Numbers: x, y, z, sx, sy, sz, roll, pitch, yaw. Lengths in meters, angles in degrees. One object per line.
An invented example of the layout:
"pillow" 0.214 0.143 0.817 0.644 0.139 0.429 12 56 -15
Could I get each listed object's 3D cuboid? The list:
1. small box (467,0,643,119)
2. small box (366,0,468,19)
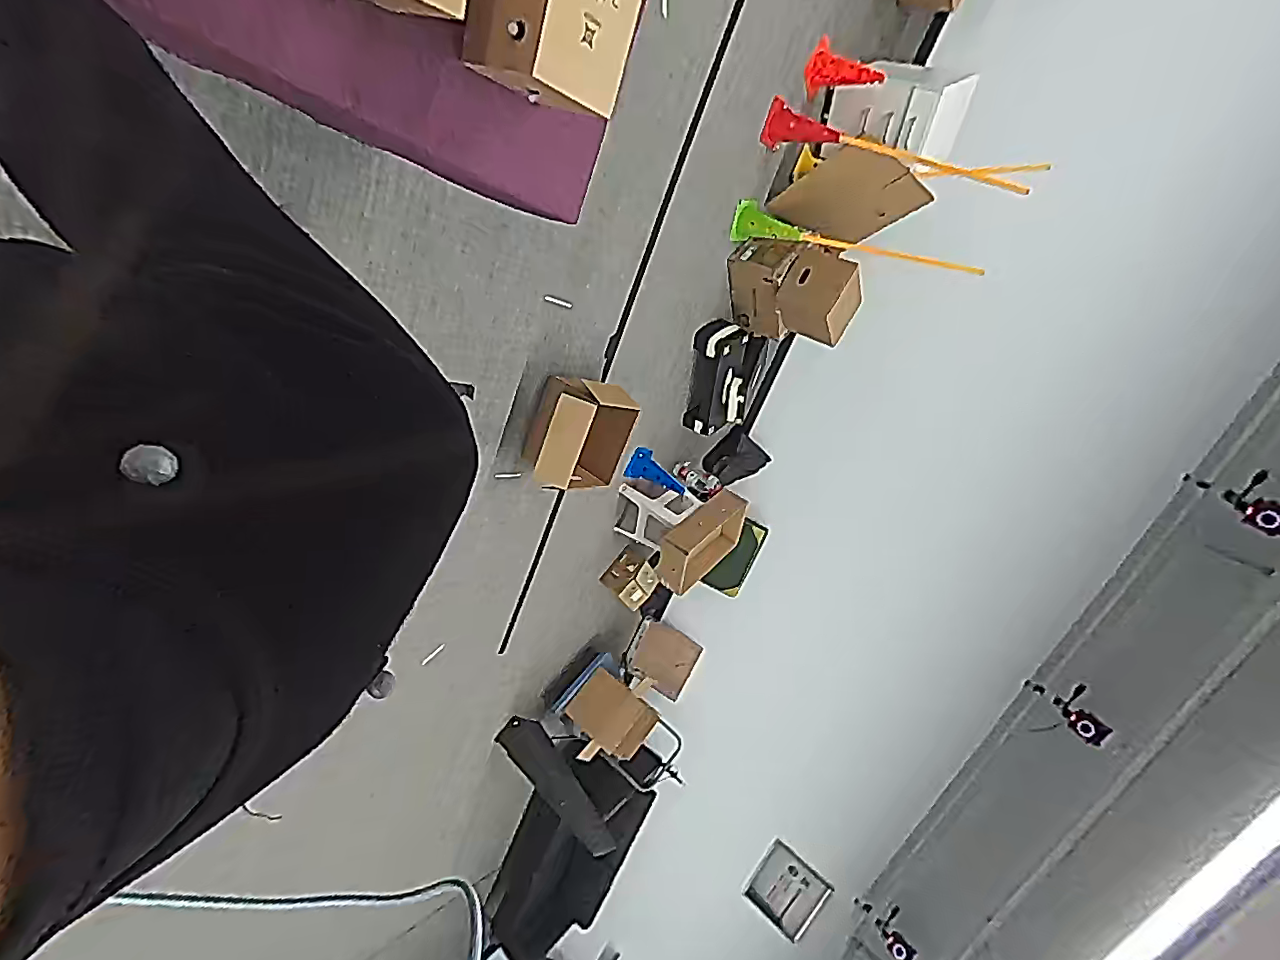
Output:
"small box" -0.126 -0.664 0.784 0.168 0.176 0.179 -16 131 -52
"small box" -0.290 -0.628 0.563 0.168 0.176 0.179 -19 134 -49
